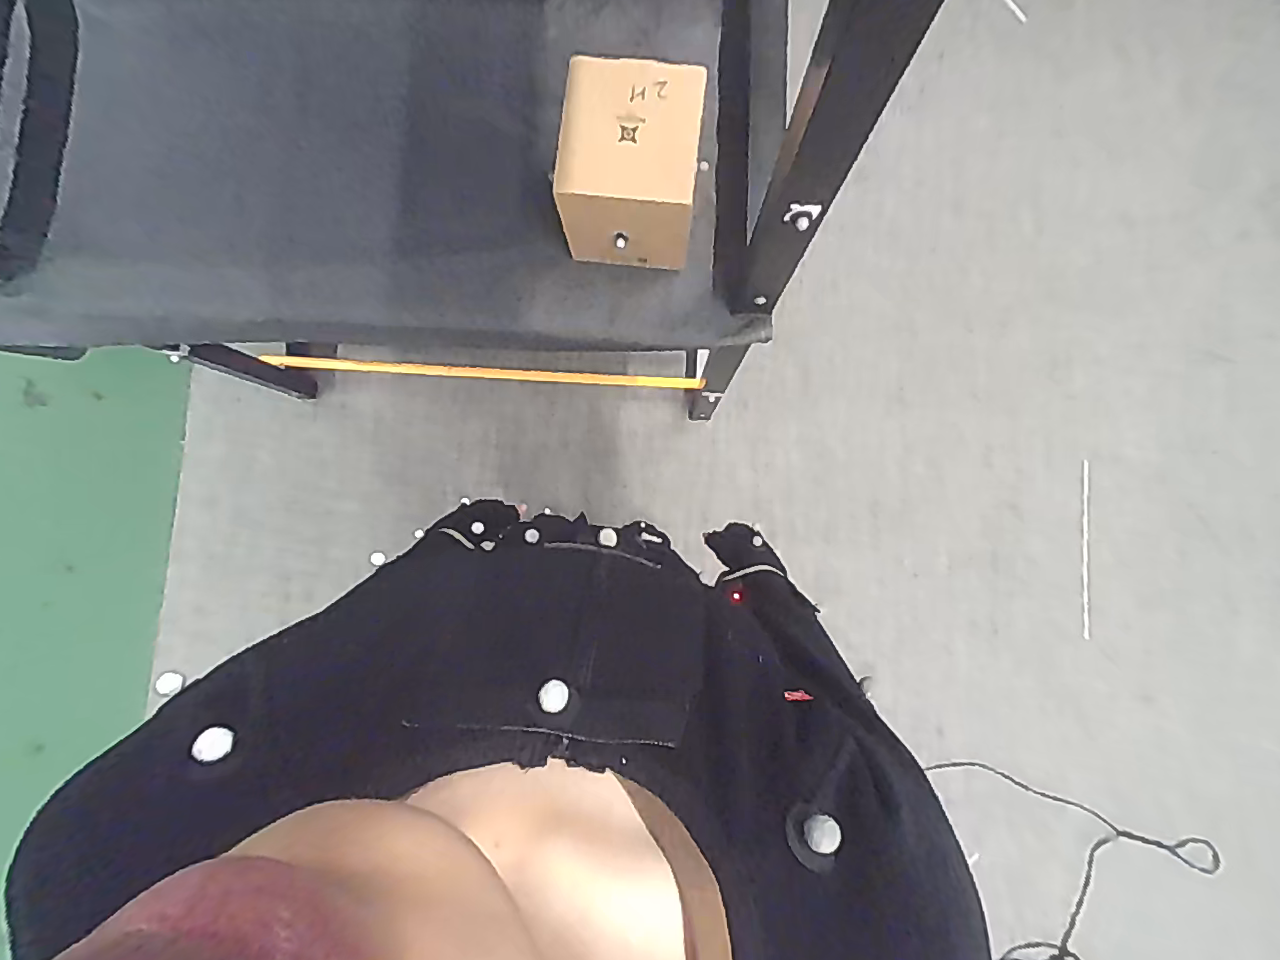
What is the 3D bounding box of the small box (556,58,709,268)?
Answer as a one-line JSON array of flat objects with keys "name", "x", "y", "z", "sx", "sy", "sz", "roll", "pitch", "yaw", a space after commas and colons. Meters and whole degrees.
[{"name": "small box", "x": -0.006, "y": -0.405, "z": 0.719, "sx": 0.168, "sy": 0.176, "sz": 0.179, "roll": 7, "pitch": 85, "yaw": 1}]
